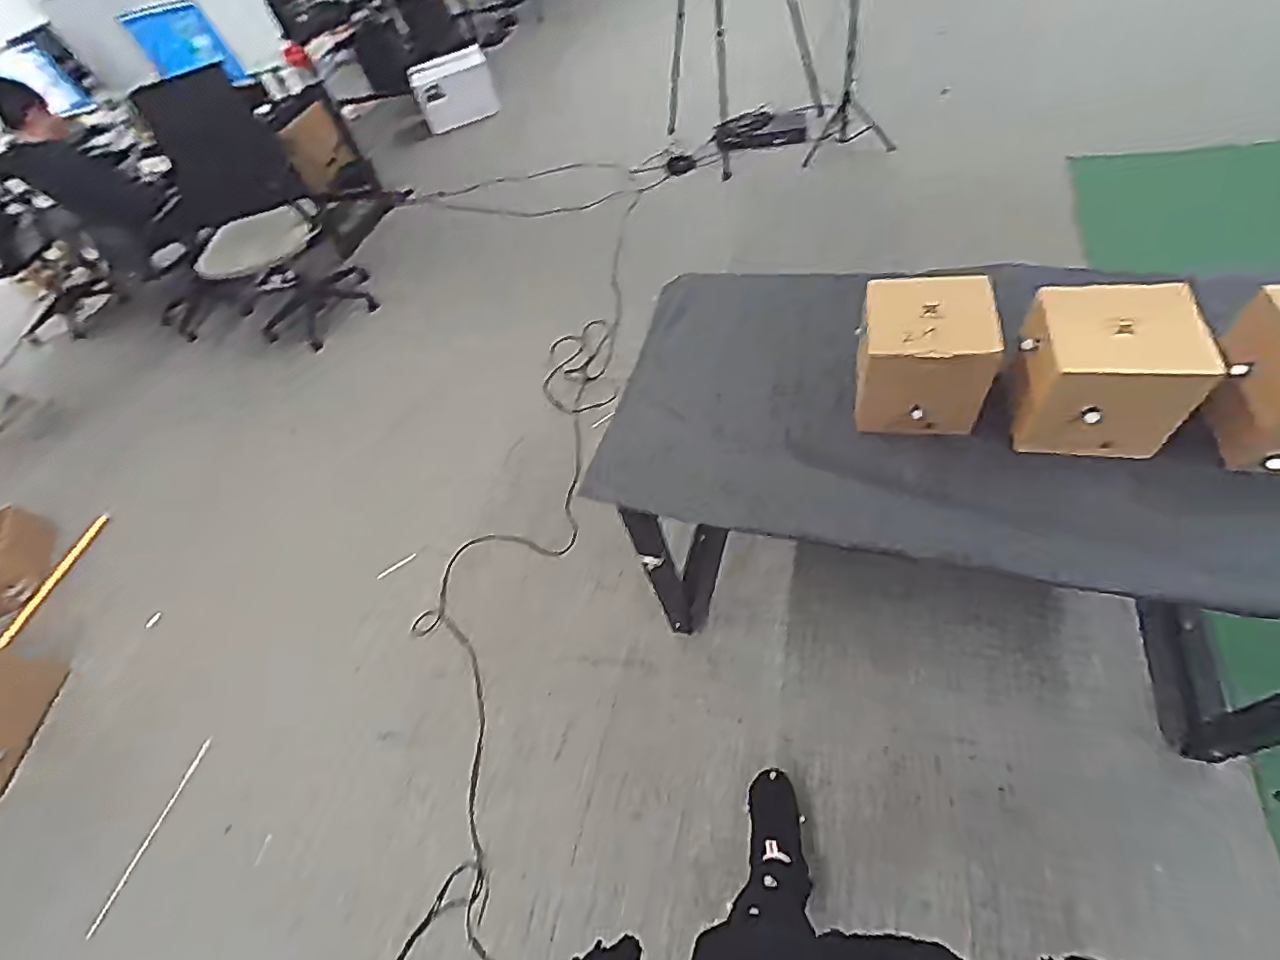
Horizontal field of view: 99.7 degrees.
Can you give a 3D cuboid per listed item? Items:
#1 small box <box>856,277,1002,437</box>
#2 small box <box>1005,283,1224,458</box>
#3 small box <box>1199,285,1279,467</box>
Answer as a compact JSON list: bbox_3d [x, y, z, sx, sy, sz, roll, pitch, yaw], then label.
[{"bbox_3d":[0.432,-0.190,0.838,0.168,0.176,0.179,4,55,18],"label":"small box"},{"bbox_3d":[0.636,-0.148,0.755,0.168,0.176,0.179,5,55,18],"label":"small box"},{"bbox_3d":[0.861,-0.123,0.673,0.168,0.176,0.179,4,55,18],"label":"small box"}]
